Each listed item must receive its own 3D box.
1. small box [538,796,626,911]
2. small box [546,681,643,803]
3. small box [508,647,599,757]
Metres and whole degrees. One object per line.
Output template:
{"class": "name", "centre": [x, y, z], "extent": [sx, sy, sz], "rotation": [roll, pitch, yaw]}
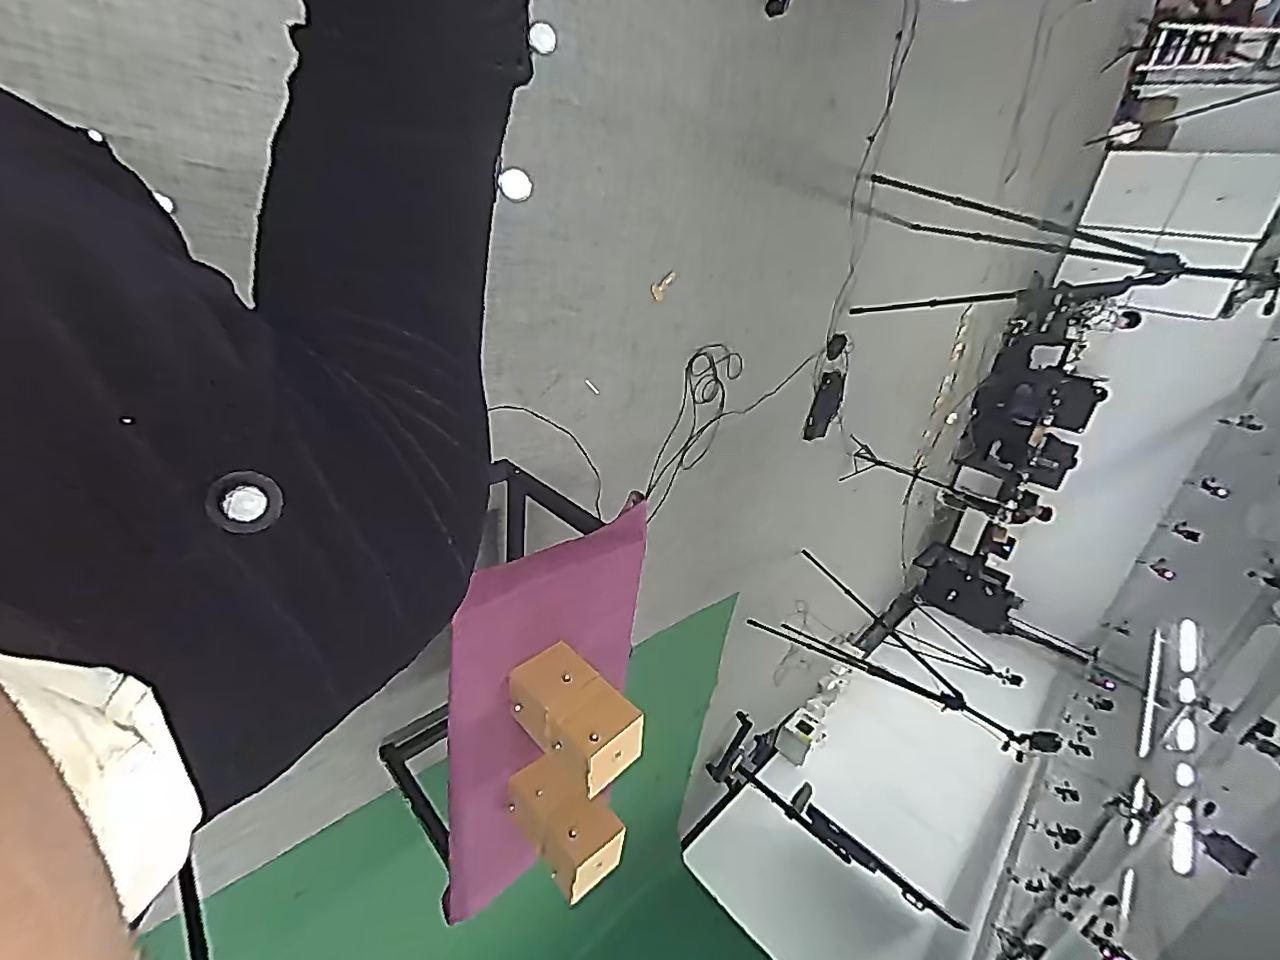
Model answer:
{"class": "small box", "centre": [-0.168, 1.028, 1.512], "extent": [0.179, 0.176, 0.168], "rotation": [-14, 122, -44]}
{"class": "small box", "centre": [-0.115, 0.641, 1.343], "extent": [0.179, 0.176, 0.168], "rotation": [-23, 128, -39]}
{"class": "small box", "centre": [-0.231, 0.579, 1.439], "extent": [0.179, 0.176, 0.168], "rotation": [-21, 126, -40]}
